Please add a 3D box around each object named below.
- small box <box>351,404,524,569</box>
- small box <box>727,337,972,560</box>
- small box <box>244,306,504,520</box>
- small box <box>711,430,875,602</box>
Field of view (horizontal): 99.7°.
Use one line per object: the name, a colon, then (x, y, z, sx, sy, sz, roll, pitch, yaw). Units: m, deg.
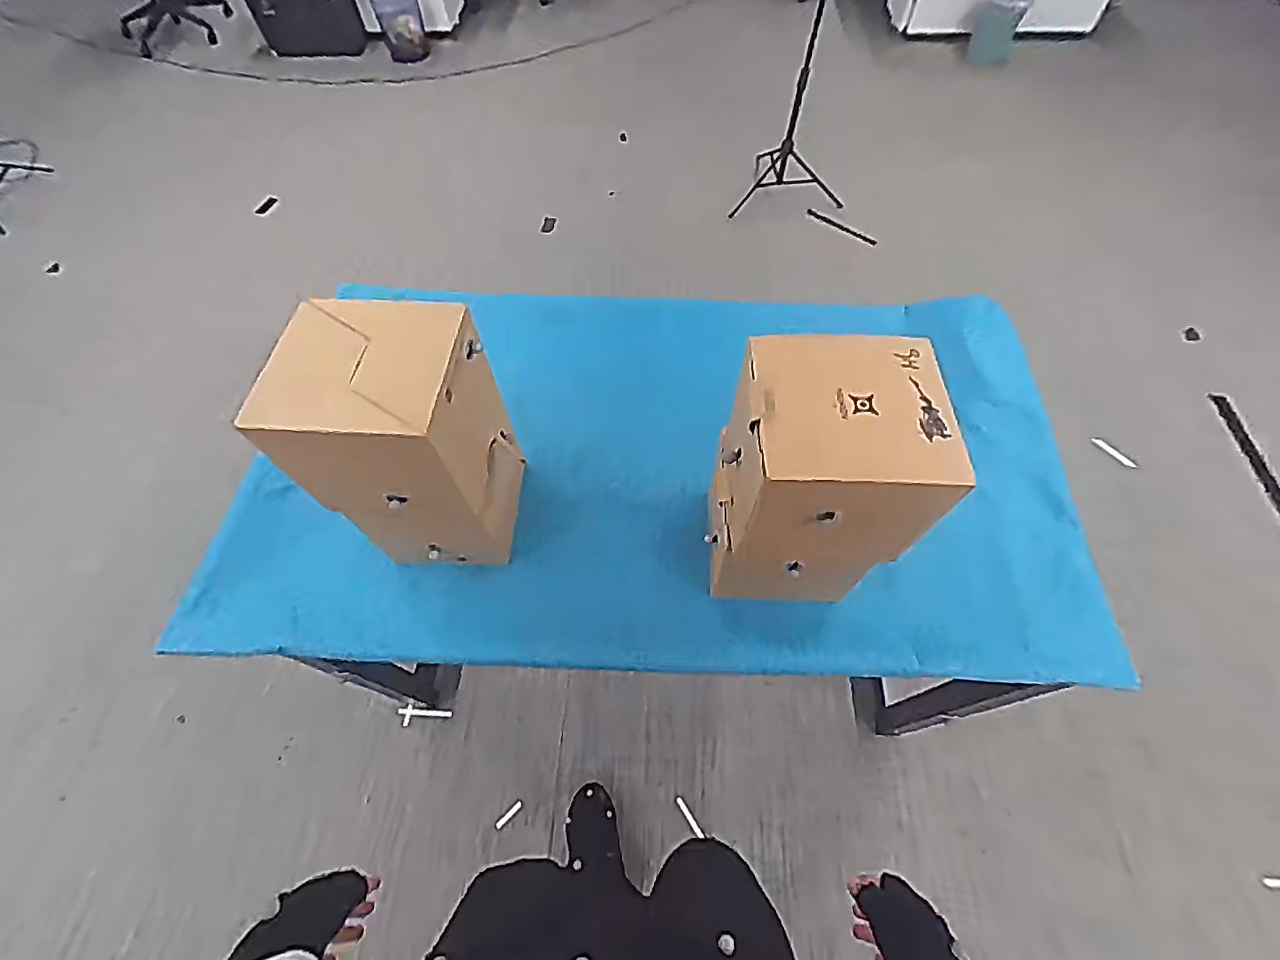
small box: (-0.264, 0.005, 0.733, 0.168, 0.176, 0.179, 3, 62, 5)
small box: (0.186, -0.024, 0.548, 0.179, 0.176, 0.168, -1, 59, 0)
small box: (-0.265, -0.068, 0.582, 0.179, 0.176, 0.168, 3, 60, 3)
small box: (0.182, 0.052, 0.692, 0.179, 0.176, 0.168, 2, 60, 3)
